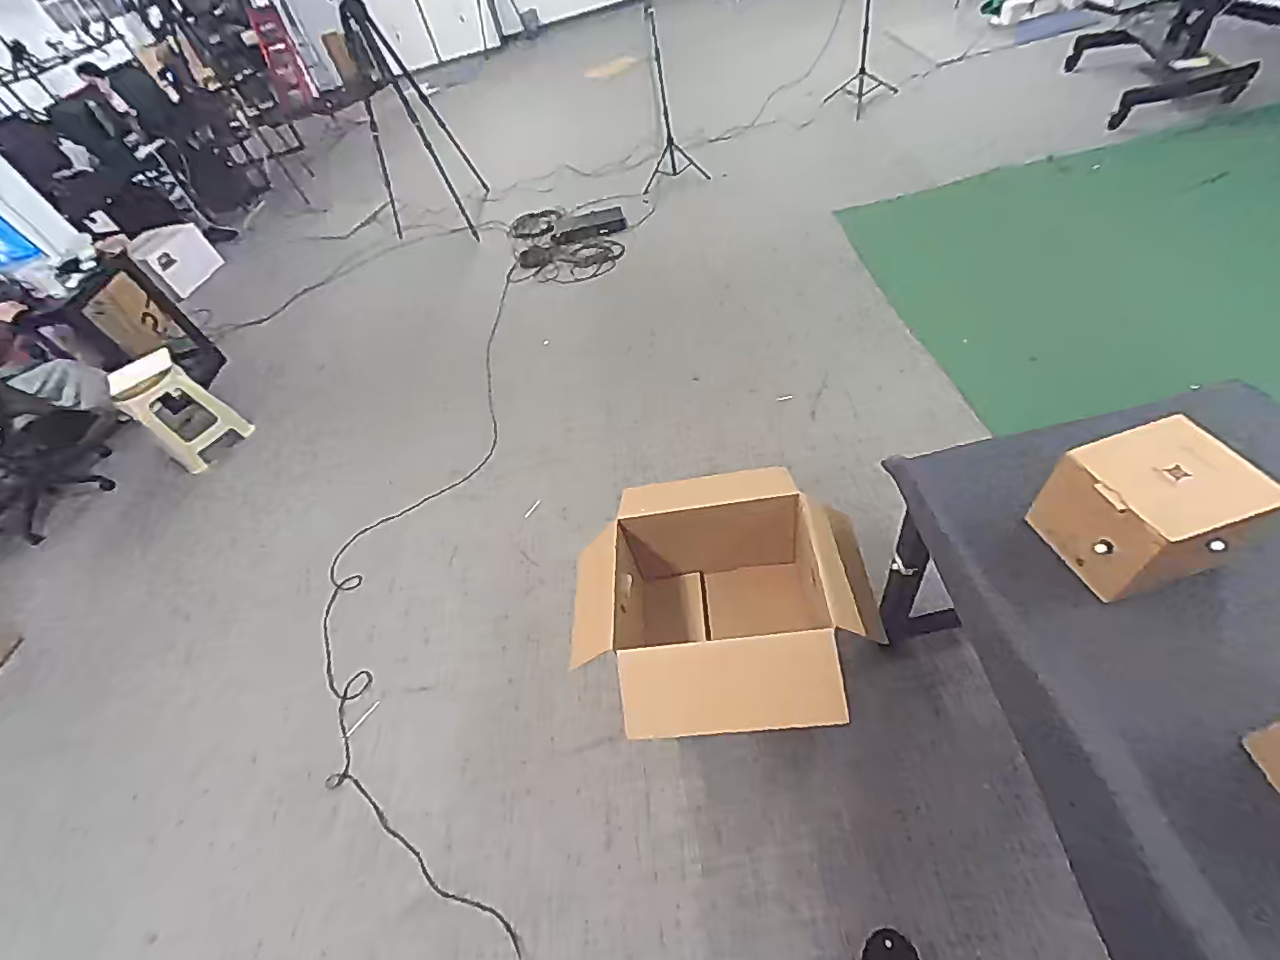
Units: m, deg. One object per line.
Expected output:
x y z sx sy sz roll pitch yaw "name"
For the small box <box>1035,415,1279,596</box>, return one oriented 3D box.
0.710 0.042 0.770 0.179 0.176 0.168 -18 50 -2 "small box"
